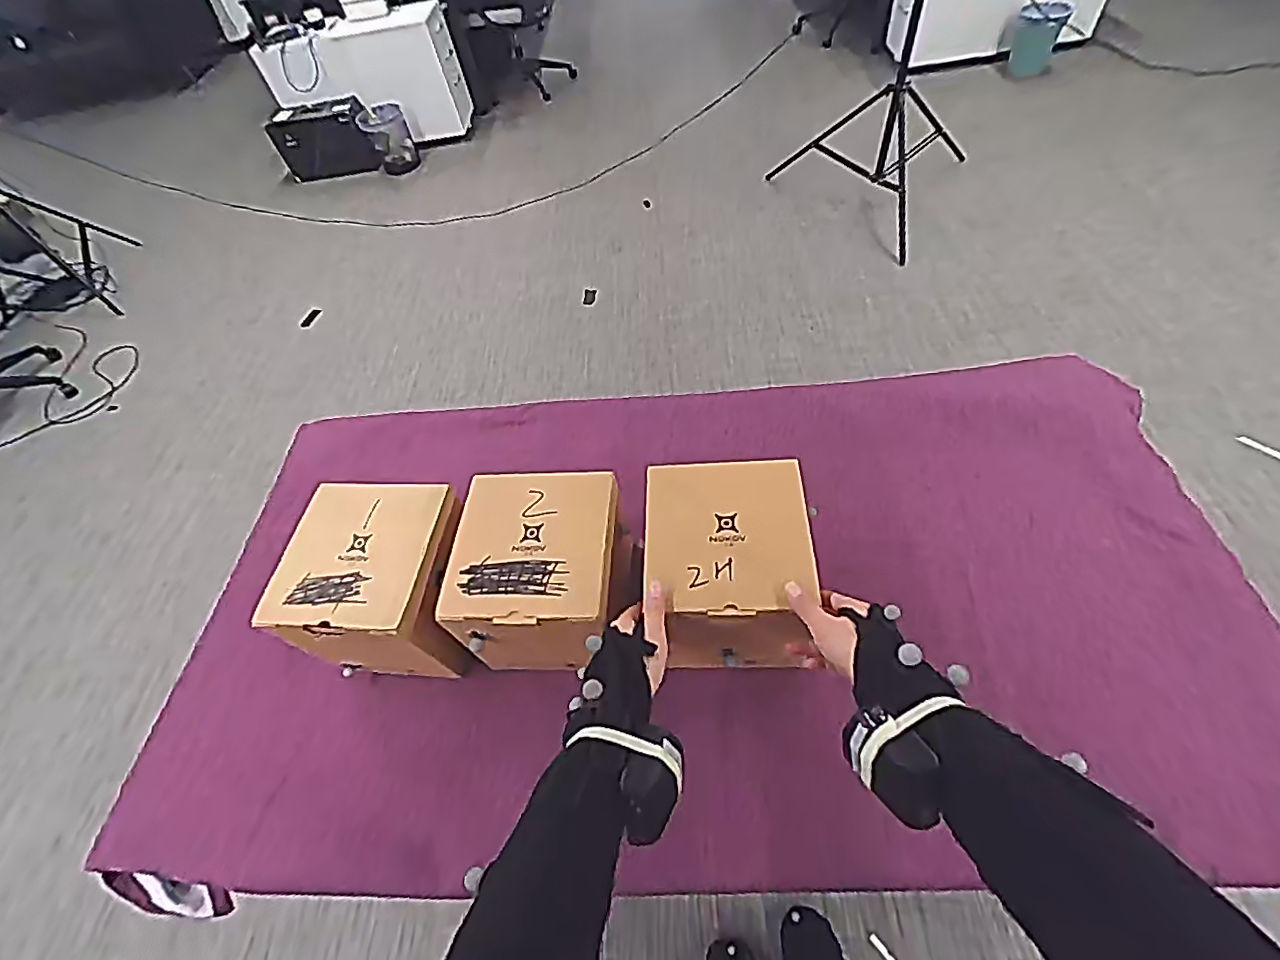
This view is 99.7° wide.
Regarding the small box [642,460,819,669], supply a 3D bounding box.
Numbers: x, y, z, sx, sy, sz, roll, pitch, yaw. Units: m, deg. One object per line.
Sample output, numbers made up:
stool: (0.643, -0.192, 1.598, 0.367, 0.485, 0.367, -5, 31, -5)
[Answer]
small box: (0.096, 0.098, 0.610, 0.168, 0.176, 0.179, -3, 54, 8)
